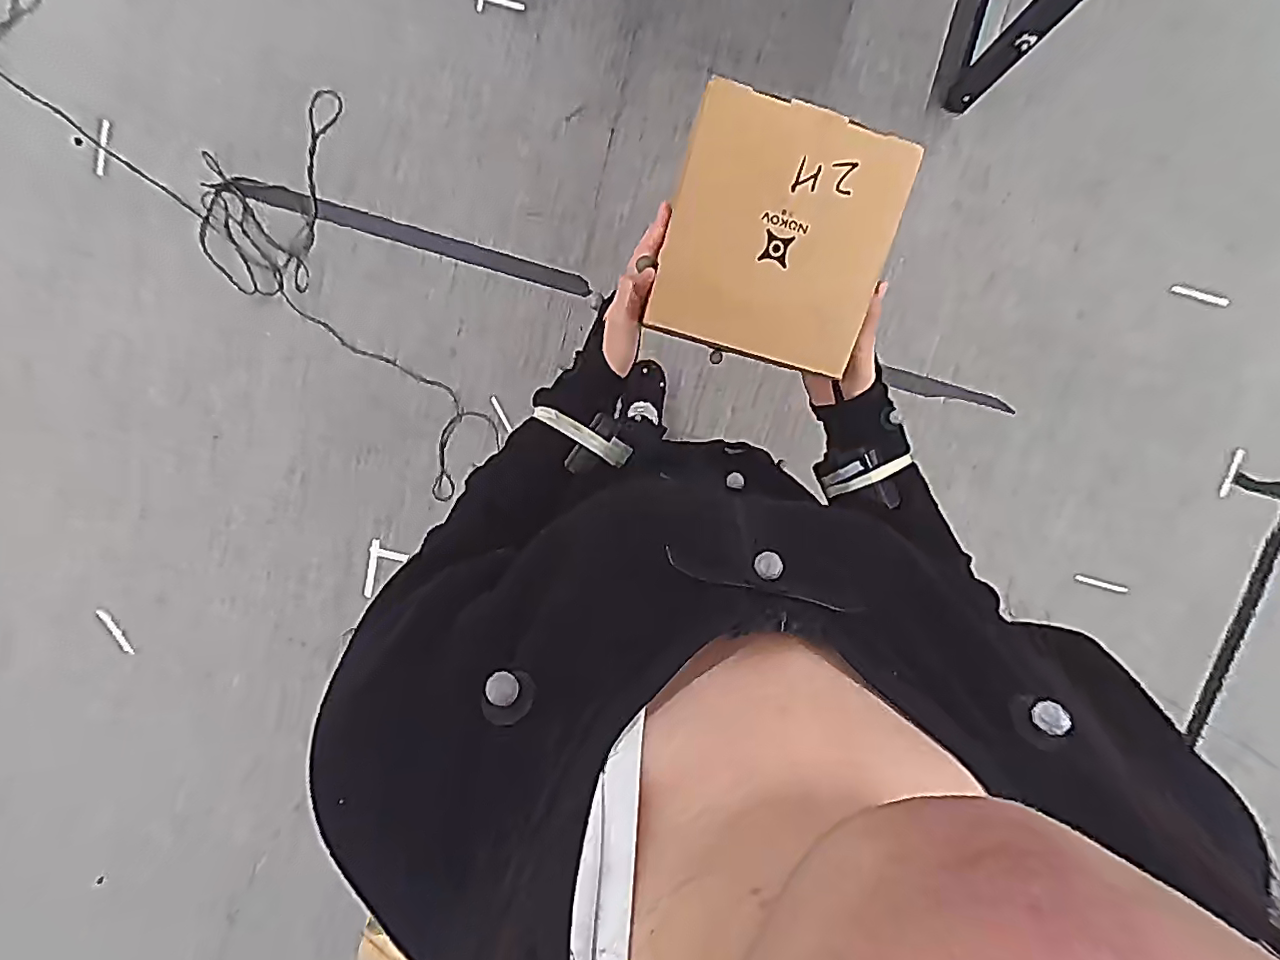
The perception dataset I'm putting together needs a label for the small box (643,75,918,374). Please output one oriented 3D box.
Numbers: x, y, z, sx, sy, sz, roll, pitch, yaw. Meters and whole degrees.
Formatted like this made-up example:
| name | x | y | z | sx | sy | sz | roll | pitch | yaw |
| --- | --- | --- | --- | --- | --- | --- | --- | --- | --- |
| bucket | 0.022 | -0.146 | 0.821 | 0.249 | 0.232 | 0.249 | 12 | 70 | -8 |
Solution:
| name | x | y | z | sx | sy | sz | roll | pitch | yaw |
| --- | --- | --- | --- | --- | --- | --- | --- | --- | --- |
| small box | 0.103 | -0.207 | 0.487 | 0.168 | 0.176 | 0.179 | 14 | 104 | -6 |
